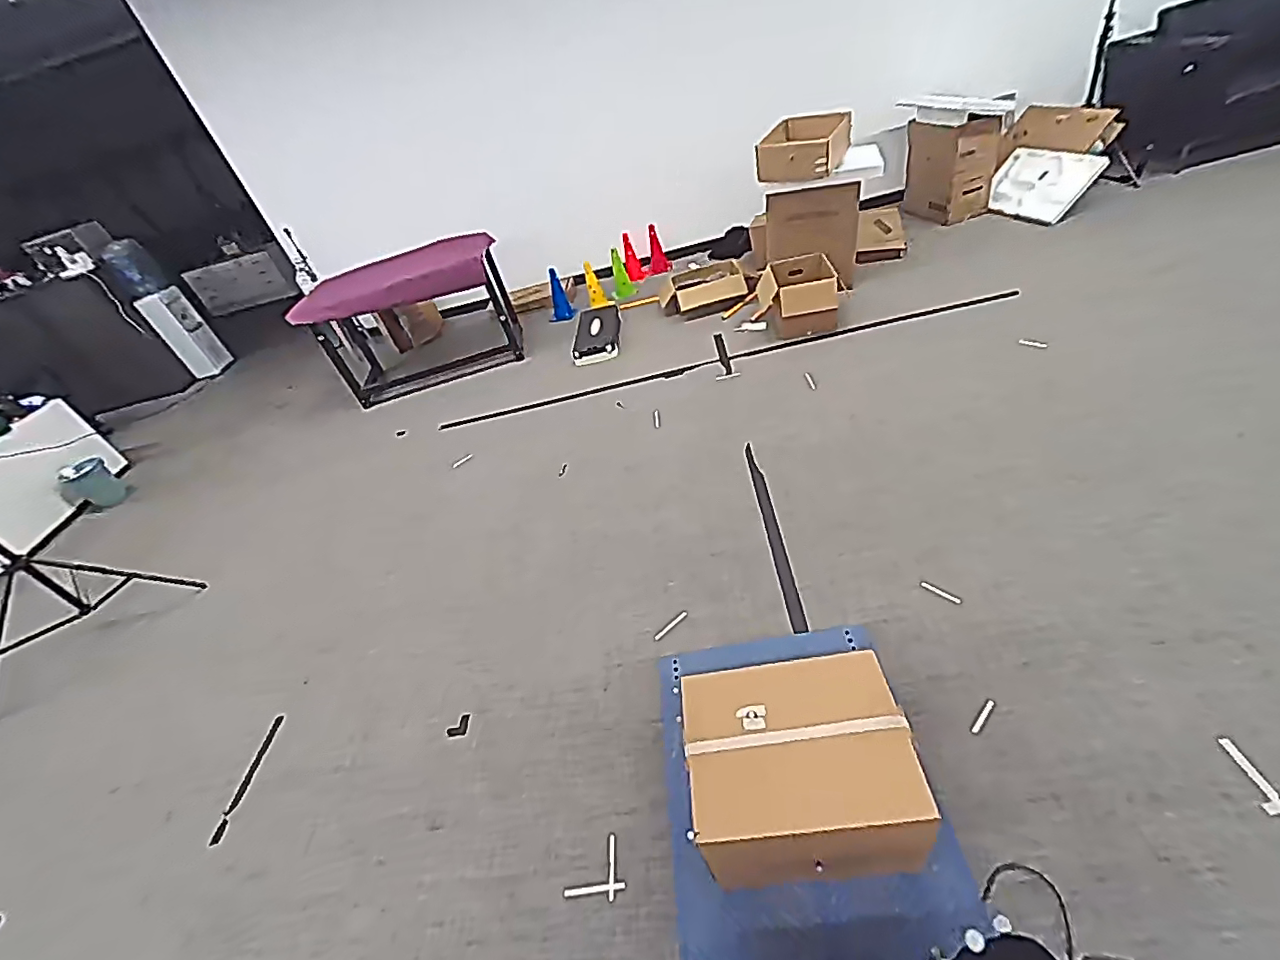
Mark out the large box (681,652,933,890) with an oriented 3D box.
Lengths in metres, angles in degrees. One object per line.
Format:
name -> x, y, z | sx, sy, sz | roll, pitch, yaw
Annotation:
large box -> 0.325, 0.606, 1.121 | 0.408, 0.320, 0.320 | -13, 38, 8
